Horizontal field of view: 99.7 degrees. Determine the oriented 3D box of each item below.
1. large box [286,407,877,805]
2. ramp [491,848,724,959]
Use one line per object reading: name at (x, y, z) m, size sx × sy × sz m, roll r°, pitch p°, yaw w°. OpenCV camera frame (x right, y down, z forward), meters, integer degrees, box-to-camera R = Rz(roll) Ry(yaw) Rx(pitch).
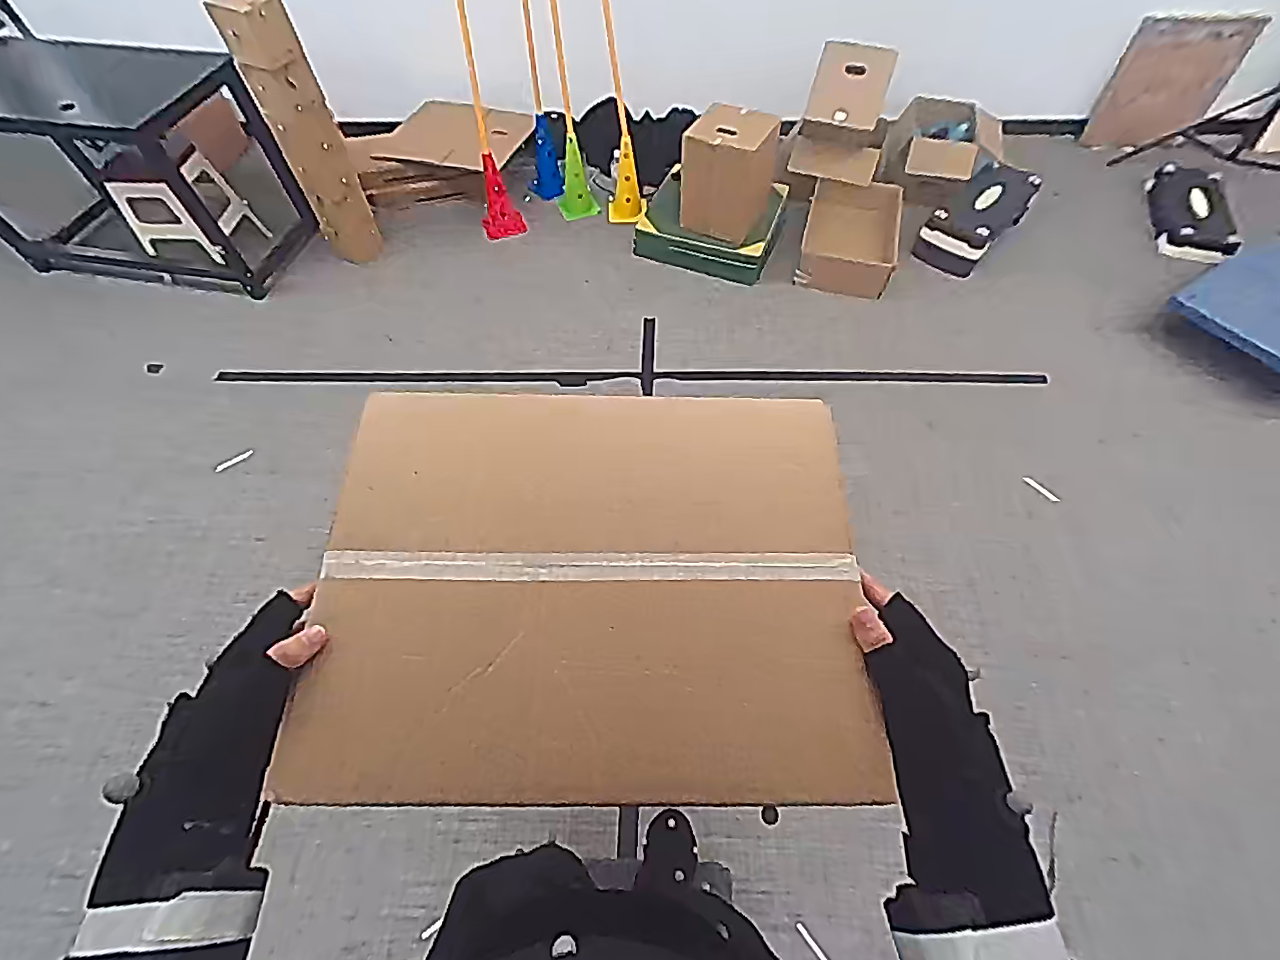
large box at (-0.040, 0.137, 0.558) m, size 0.408 × 0.320 × 0.320 m, roll 1°, pitch 64°, yaw -2°
ramp at (-0.075, 1.289, 1.015) m, size 0.509 × 0.206 × 0.991 m, roll 1°, pitch 58°, yaw -1°
